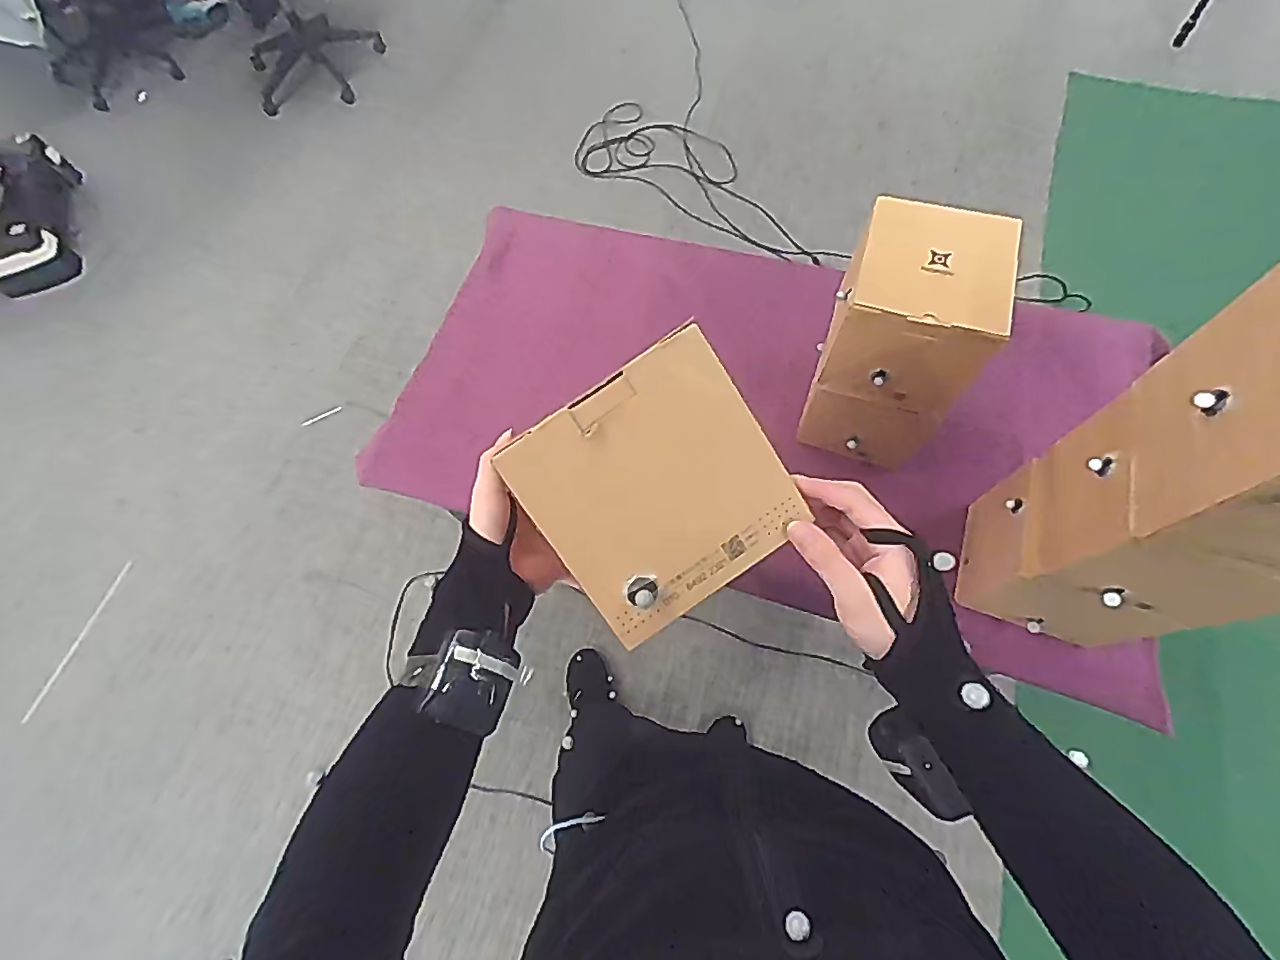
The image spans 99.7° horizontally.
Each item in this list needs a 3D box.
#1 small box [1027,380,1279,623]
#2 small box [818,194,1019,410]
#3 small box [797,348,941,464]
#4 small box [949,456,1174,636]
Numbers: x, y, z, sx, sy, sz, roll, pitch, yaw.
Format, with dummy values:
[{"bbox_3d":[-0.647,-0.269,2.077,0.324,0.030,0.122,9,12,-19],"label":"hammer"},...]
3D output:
[{"bbox_3d":[0.544,0.030,0.568,0.168,0.176,0.179,18,69,13],"label":"small box"},{"bbox_3d":[0.340,-0.217,0.686,0.168,0.176,0.179,17,71,10],"label":"small box"},{"bbox_3d":[0.356,-0.153,0.834,0.168,0.176,0.179,19,70,12],"label":"small box"},{"bbox_3d":[0.550,0.096,0.718,0.179,0.176,0.168,19,69,12],"label":"small box"}]
